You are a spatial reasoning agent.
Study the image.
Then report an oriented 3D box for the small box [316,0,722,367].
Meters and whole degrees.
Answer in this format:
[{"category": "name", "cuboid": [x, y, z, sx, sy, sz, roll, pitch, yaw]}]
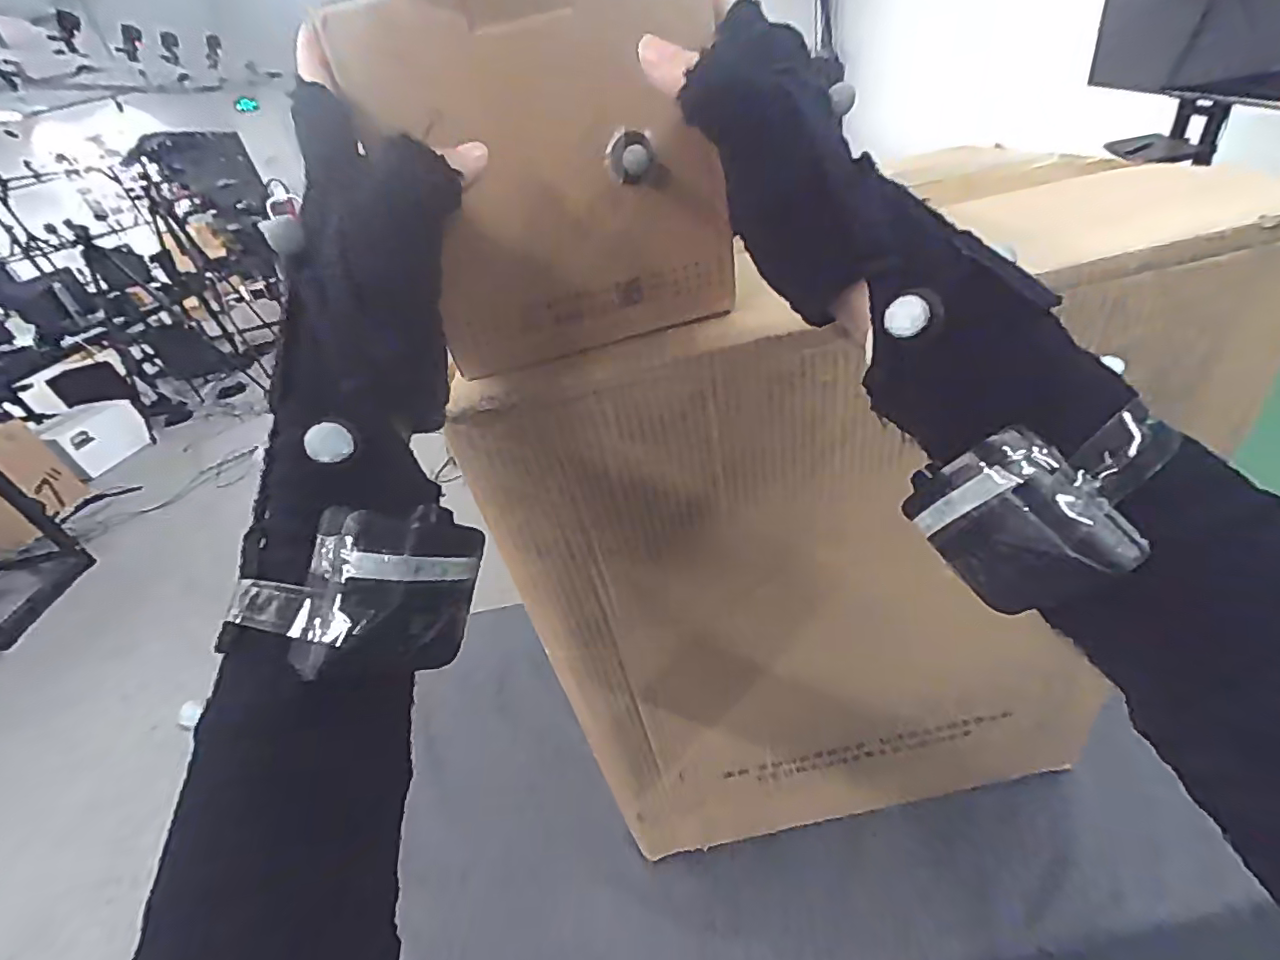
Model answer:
[{"category": "small box", "cuboid": [-0.054, -0.184, 0.335, 0.168, 0.176, 0.179, -14, 36, -3]}]
